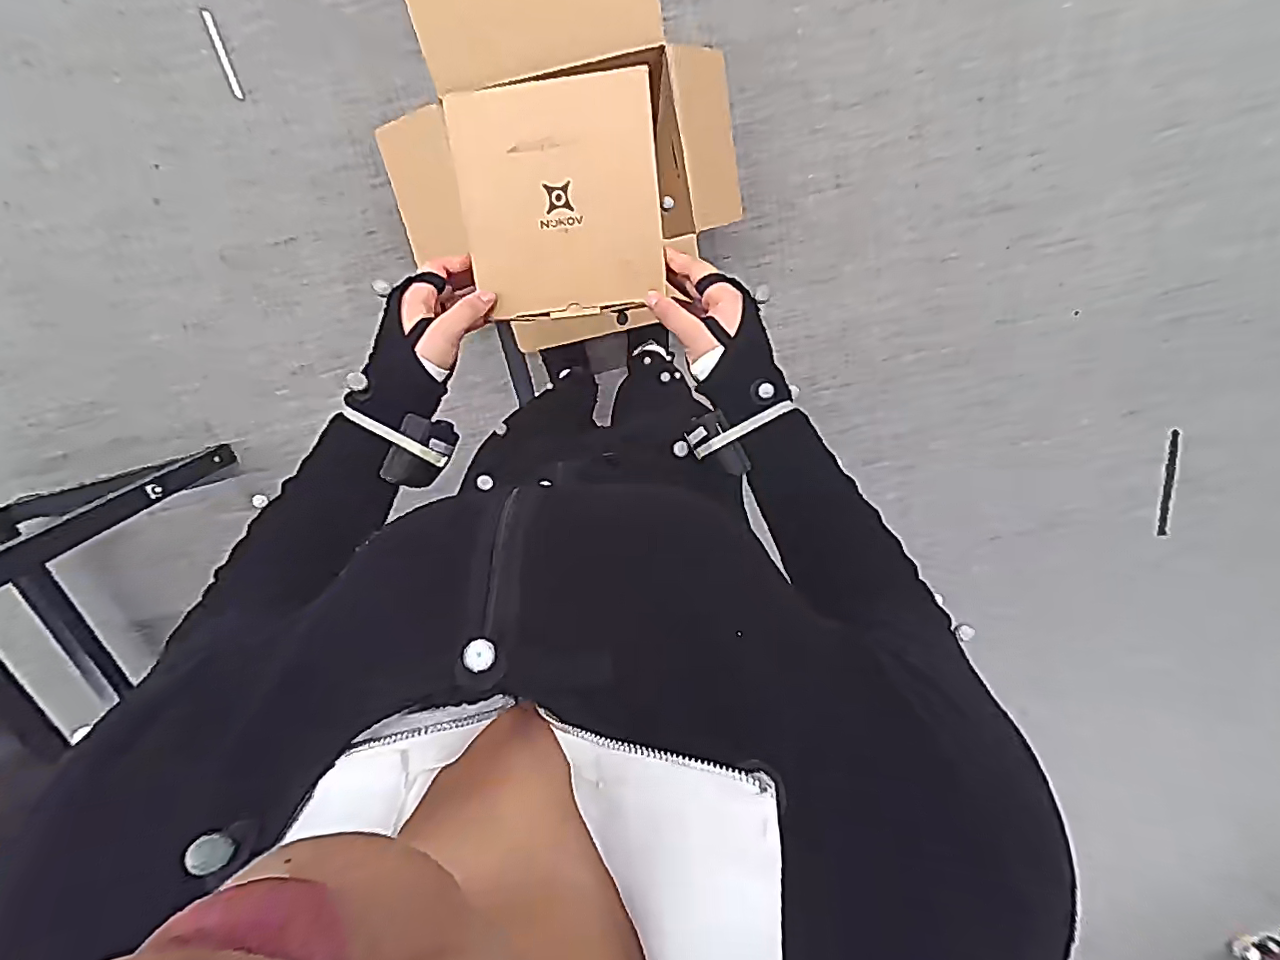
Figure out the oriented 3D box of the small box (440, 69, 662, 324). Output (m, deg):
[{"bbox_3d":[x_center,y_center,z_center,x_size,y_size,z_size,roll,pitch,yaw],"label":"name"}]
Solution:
[{"bbox_3d":[-0.067,-0.252,0.523,0.168,0.176,0.179,-6,106,3],"label":"small box"}]
